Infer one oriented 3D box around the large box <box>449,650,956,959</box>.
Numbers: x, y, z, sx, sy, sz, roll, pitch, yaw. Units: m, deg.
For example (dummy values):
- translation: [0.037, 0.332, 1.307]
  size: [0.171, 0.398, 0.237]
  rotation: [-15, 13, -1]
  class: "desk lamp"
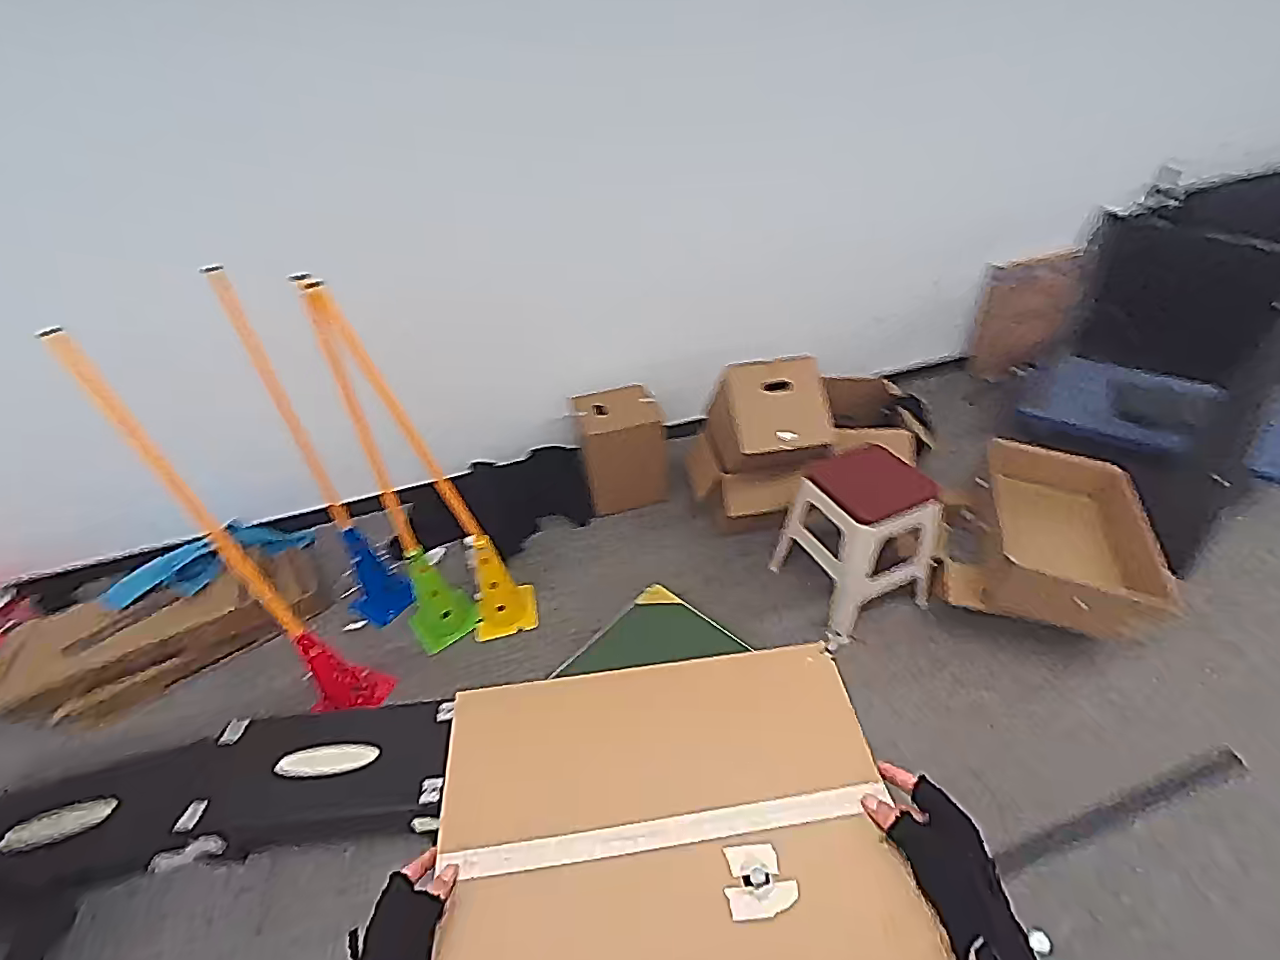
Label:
- translation: [0.037, 0.425, 0.590]
  size: [0.408, 0.320, 0.320]
  rotation: [-6, 45, -4]
  class: "large box"
